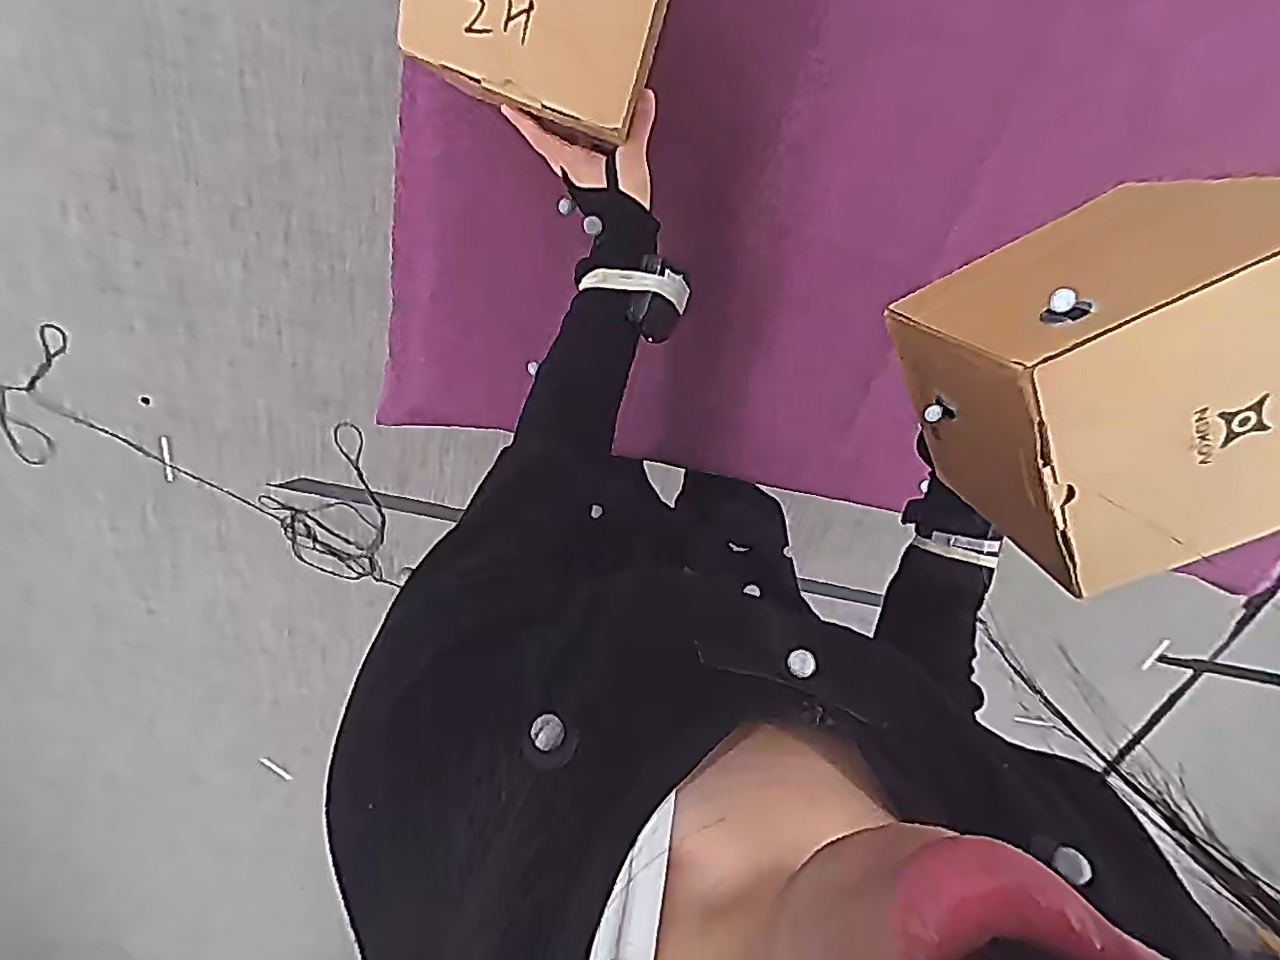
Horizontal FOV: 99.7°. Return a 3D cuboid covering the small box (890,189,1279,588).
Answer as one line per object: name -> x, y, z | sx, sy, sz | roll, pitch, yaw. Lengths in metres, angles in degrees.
small box -> 0.300, -0.069, 0.352 | 0.179, 0.176, 0.168 | -26, 115, 13

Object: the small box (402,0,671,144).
small box -> -0.062, -0.391, 0.420 | 0.168, 0.176, 0.179 | 17, 117, -8
